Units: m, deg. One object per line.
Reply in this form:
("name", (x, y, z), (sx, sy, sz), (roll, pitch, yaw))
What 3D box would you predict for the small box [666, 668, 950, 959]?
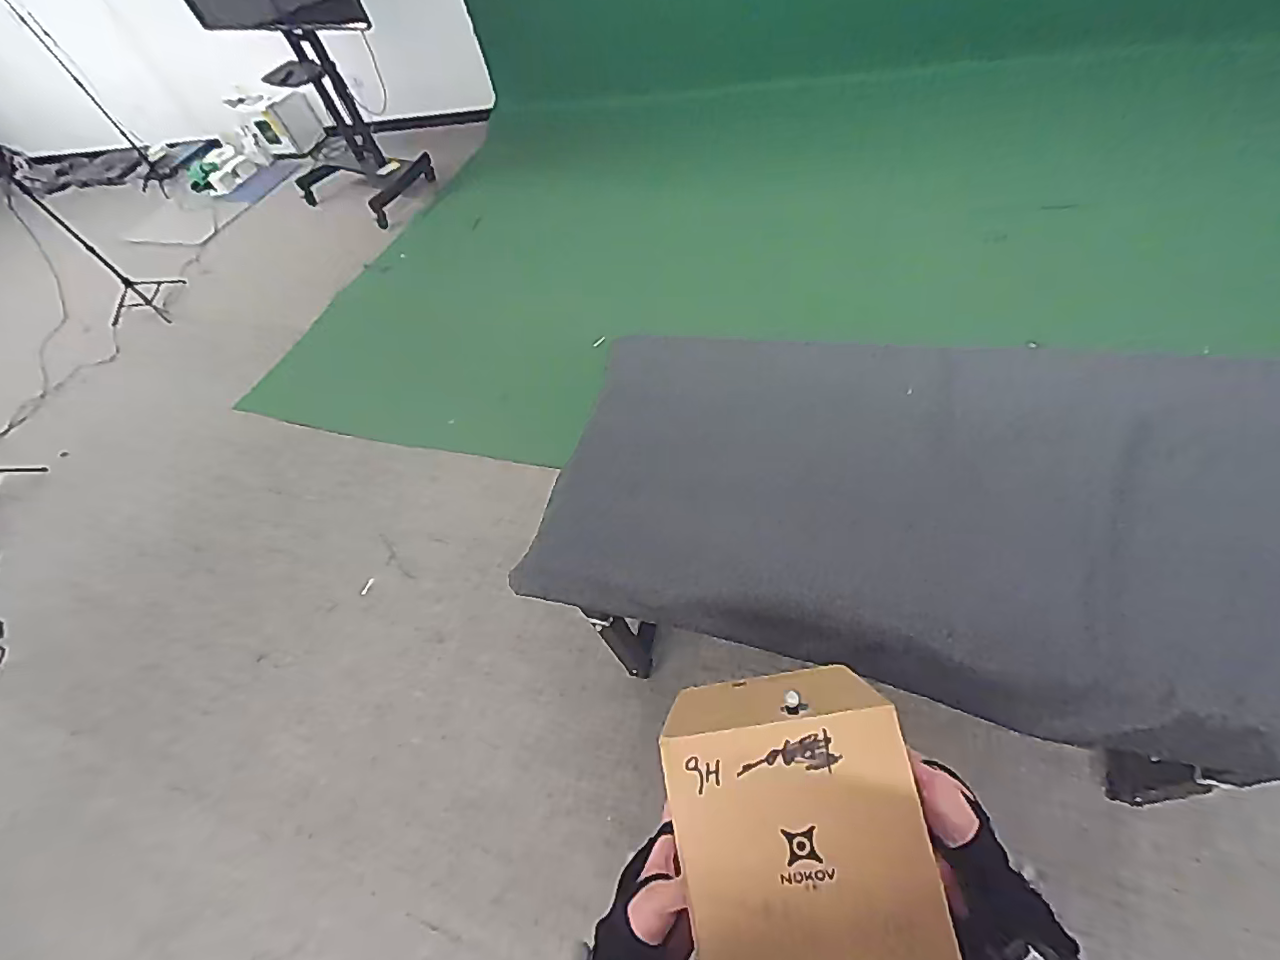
("small box", (0.124, 0.271, 0.449), (0.168, 0.176, 0.179), (-11, 80, 6))
